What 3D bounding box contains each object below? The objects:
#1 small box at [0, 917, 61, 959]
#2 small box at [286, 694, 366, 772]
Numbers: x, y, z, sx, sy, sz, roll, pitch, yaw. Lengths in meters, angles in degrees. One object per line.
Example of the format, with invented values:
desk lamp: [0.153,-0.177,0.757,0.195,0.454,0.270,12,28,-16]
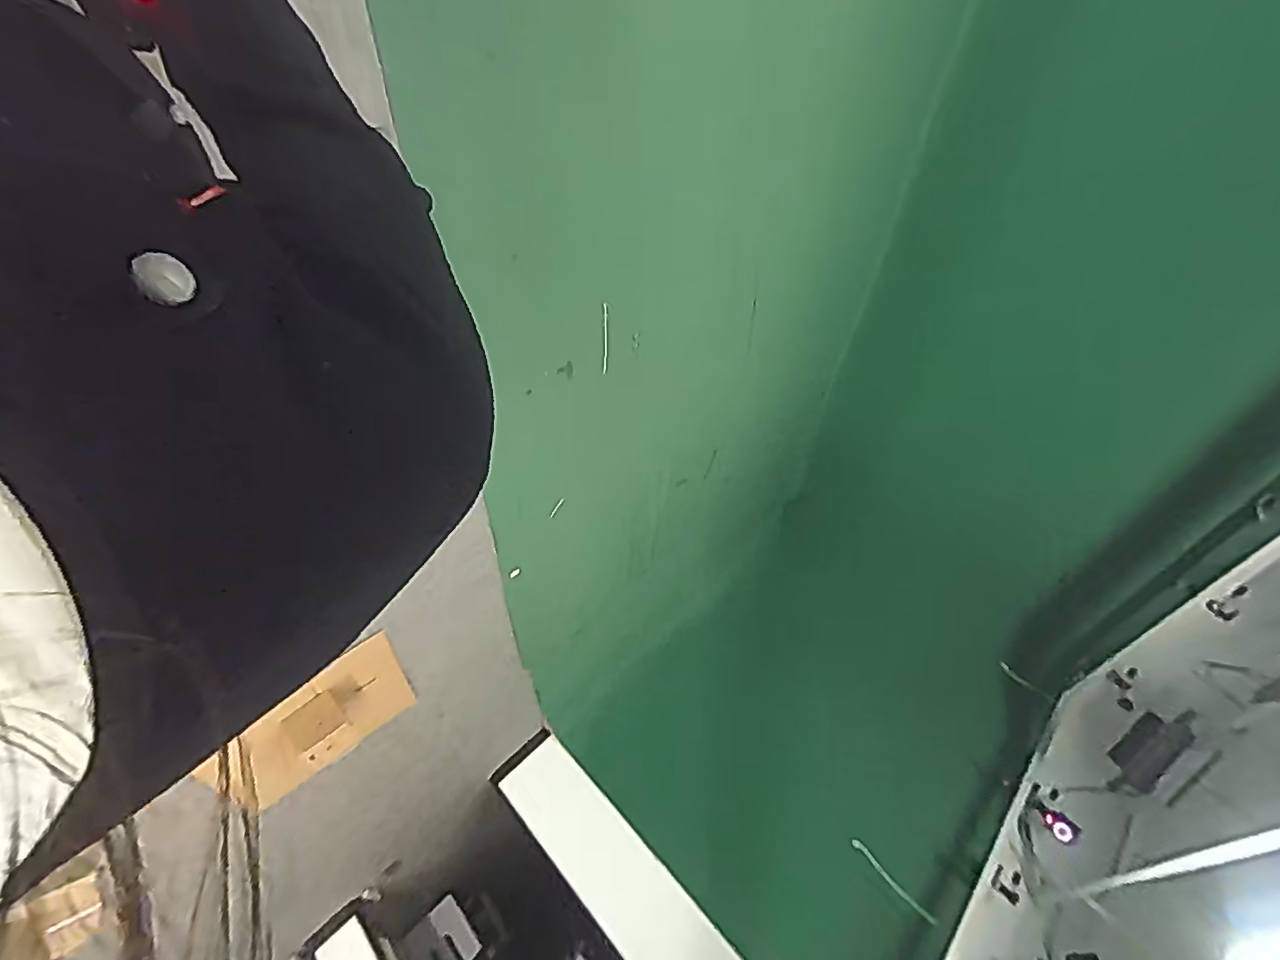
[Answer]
small box: [-1.471,1.162,1.224,0.168,0.176,0.179,-58,151,8]
small box: [-1.174,0.942,2.024,0.179,0.176,0.168,-37,148,-30]
